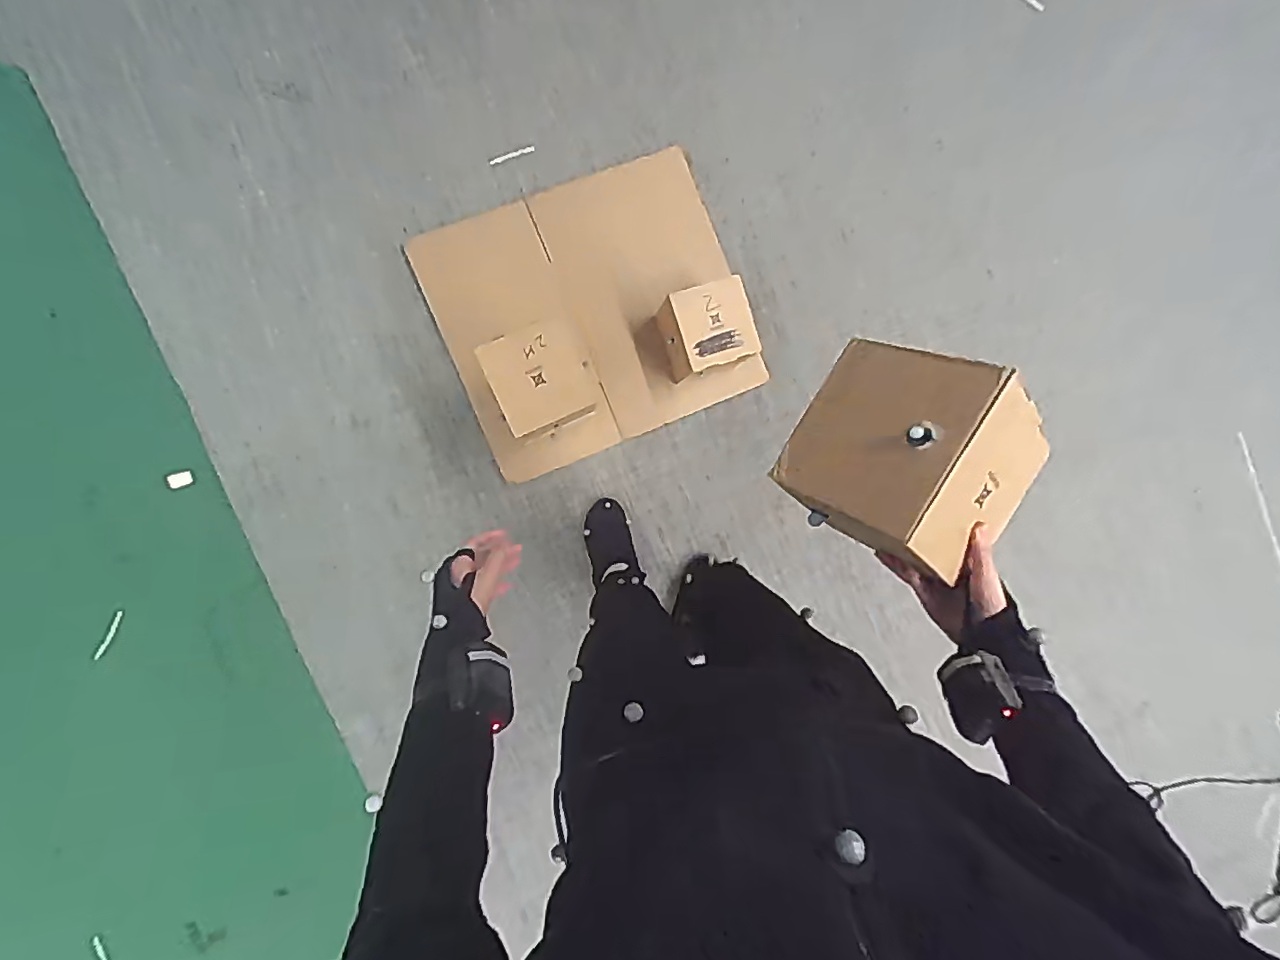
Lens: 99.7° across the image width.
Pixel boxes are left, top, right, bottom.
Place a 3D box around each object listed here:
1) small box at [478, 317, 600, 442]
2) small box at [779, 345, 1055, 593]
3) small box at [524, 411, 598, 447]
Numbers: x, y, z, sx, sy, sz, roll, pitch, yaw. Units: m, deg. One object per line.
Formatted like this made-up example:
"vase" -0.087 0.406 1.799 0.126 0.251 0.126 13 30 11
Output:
"small box" -0.185 -0.181 1.030 0.168 0.176 0.179 -24 94 -7
"small box" 0.278 -0.018 0.556 0.168 0.176 0.179 32 91 -39
"small box" -0.203 -0.181 1.194 0.168 0.176 0.179 -24 94 -6
